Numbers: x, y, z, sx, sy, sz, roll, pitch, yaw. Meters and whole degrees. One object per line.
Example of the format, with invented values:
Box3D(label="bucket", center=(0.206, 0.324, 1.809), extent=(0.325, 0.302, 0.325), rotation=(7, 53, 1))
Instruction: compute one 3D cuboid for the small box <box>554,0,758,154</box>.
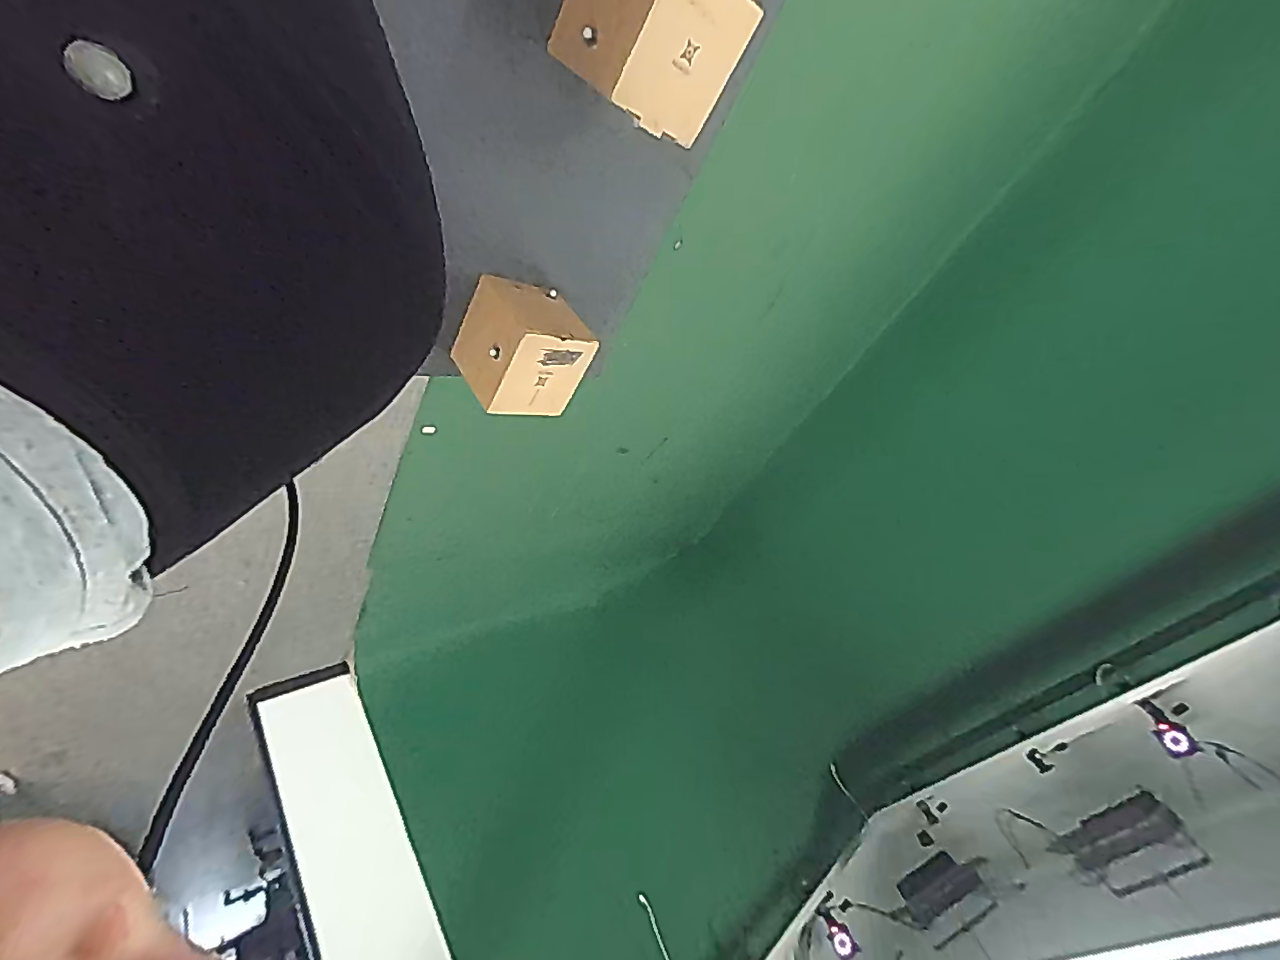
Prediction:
Box3D(label="small box", center=(0.011, -0.576, 0.706), extent=(0.168, 0.176, 0.179), rotation=(-8, 140, -47))

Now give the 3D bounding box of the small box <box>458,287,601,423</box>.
Box3D(label="small box", center=(-0.209, -0.224, 0.988), extent=(0.168, 0.176, 0.179), rotation=(-5, 140, -47))
